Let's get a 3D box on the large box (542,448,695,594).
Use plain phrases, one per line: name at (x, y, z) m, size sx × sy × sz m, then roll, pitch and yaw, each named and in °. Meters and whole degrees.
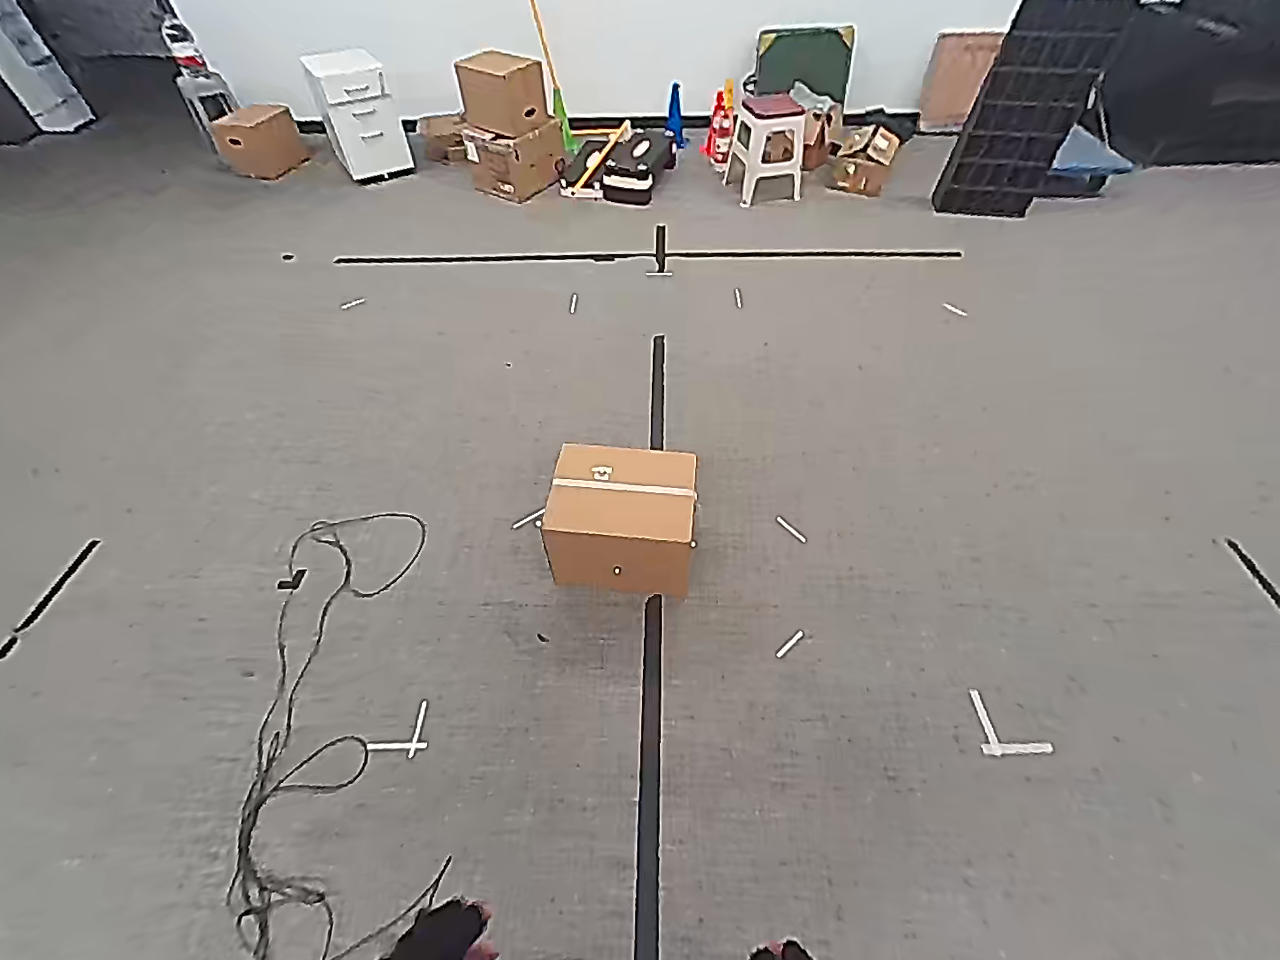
large box at (-0.045, 0.128, 1.634) m, size 0.408 × 0.320 × 0.320 m, roll 4°, pitch 51°, yaw 5°
